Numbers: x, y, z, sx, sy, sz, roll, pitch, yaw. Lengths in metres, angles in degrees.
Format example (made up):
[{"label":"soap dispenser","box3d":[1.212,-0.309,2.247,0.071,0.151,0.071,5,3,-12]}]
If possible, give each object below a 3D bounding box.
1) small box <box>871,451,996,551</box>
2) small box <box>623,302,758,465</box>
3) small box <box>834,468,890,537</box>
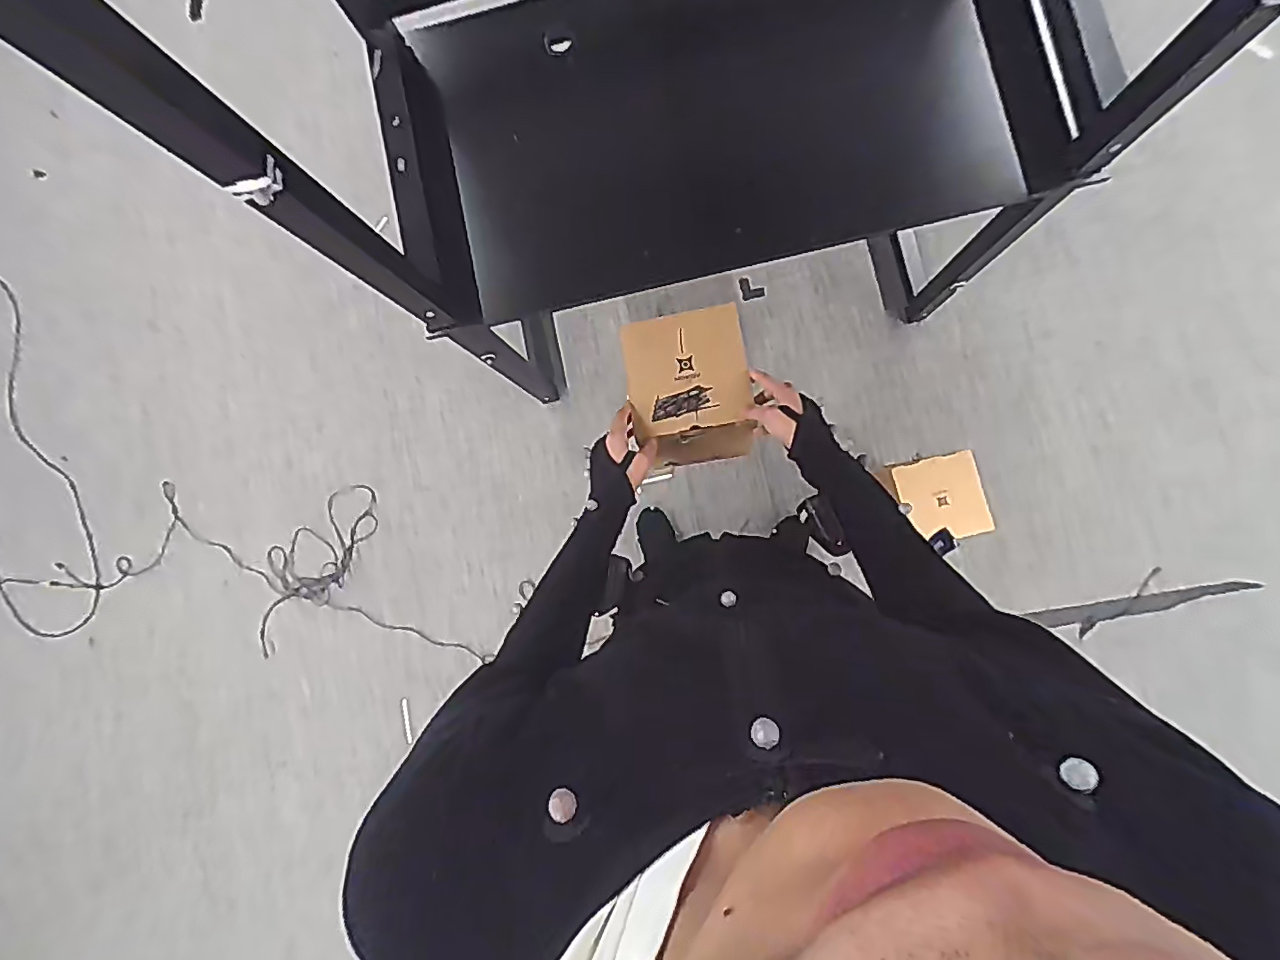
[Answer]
[{"label":"small box","box3d":[0.635,0.046,1.190,0.168,0.176,0.179,-15,85,6]},{"label":"small box","box3d":[0.079,-0.128,0.799,0.168,0.176,0.179,-9,75,8]},{"label":"small box","box3d":[0.667,0.059,1.515,0.179,0.176,0.168,-14,85,6]}]
